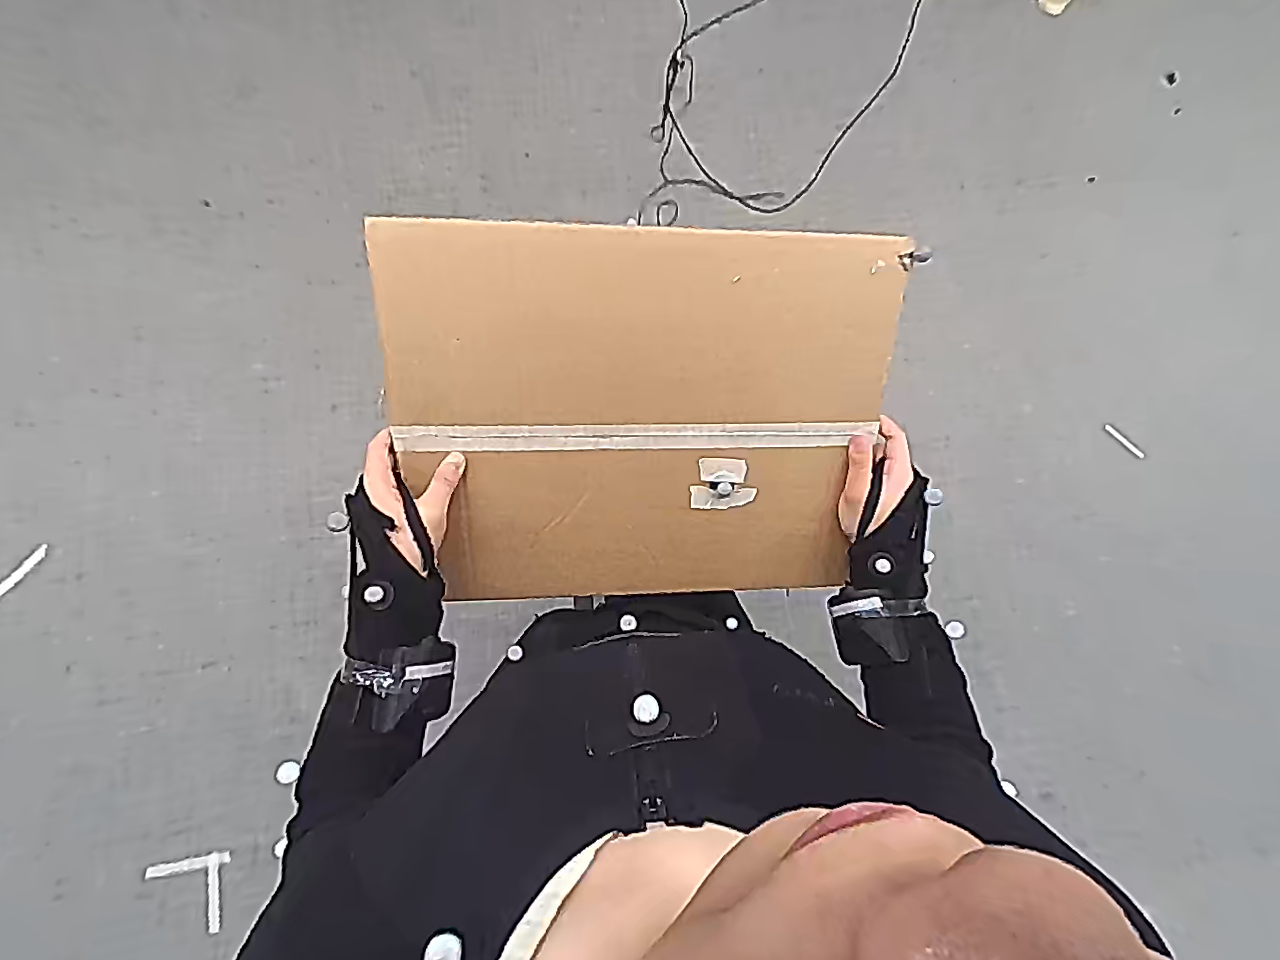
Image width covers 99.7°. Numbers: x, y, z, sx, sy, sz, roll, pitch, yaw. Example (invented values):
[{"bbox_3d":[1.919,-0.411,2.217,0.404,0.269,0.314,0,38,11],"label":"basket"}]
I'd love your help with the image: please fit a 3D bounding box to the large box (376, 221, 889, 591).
[{"bbox_3d":[-0.016,-0.104,0.602,0.408,0.320,0.320,-2,113,-8],"label":"large box"}]
